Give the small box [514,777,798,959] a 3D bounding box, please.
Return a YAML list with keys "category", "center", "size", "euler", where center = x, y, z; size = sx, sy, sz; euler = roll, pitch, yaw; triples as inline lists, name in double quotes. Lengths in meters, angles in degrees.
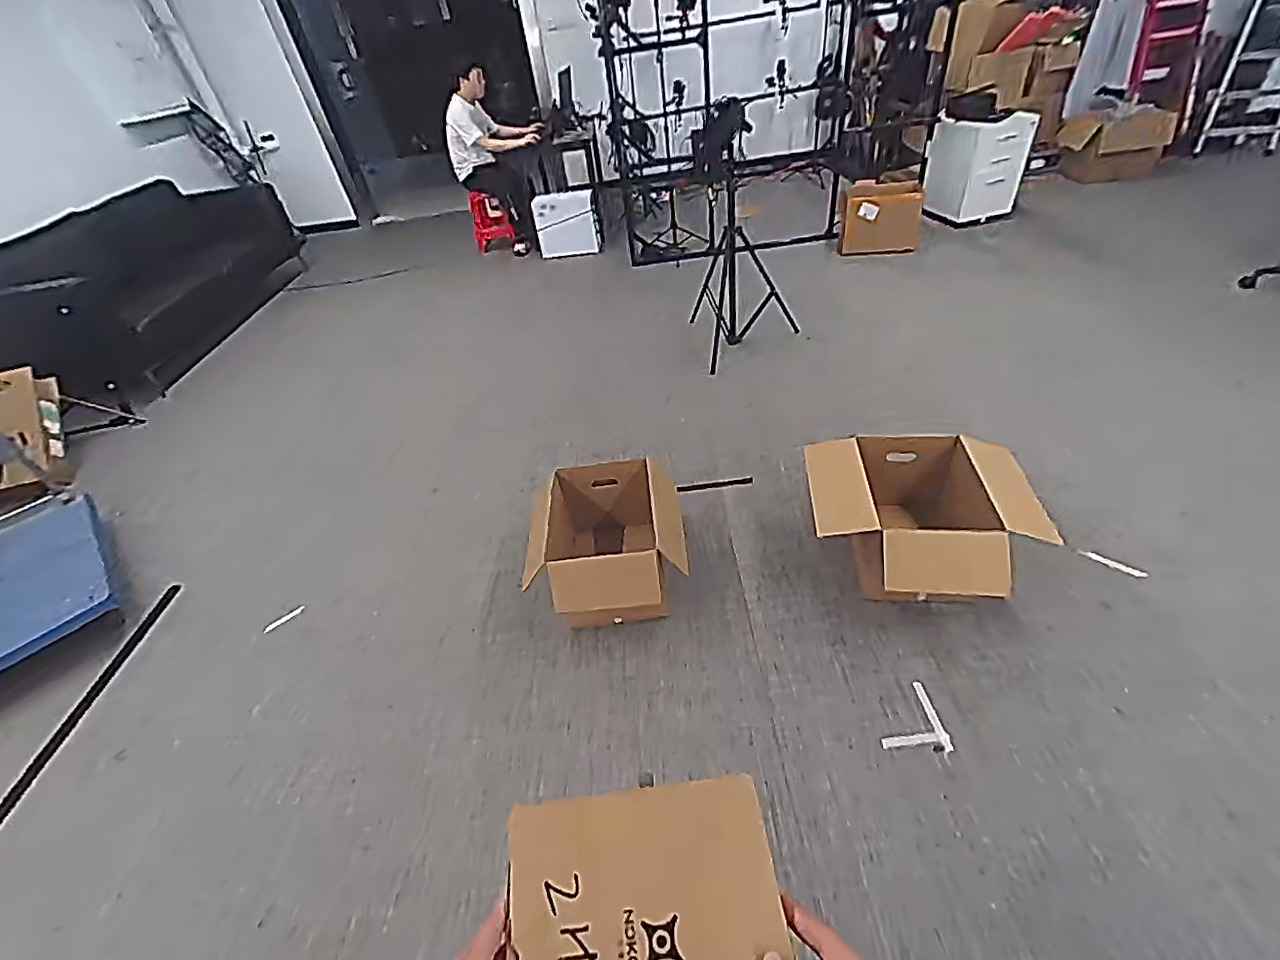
- category: "small box"
  center: [0.009, 0.332, 0.400]
  size: [0.179, 0.176, 0.168]
  euler: [-6, 53, -3]
